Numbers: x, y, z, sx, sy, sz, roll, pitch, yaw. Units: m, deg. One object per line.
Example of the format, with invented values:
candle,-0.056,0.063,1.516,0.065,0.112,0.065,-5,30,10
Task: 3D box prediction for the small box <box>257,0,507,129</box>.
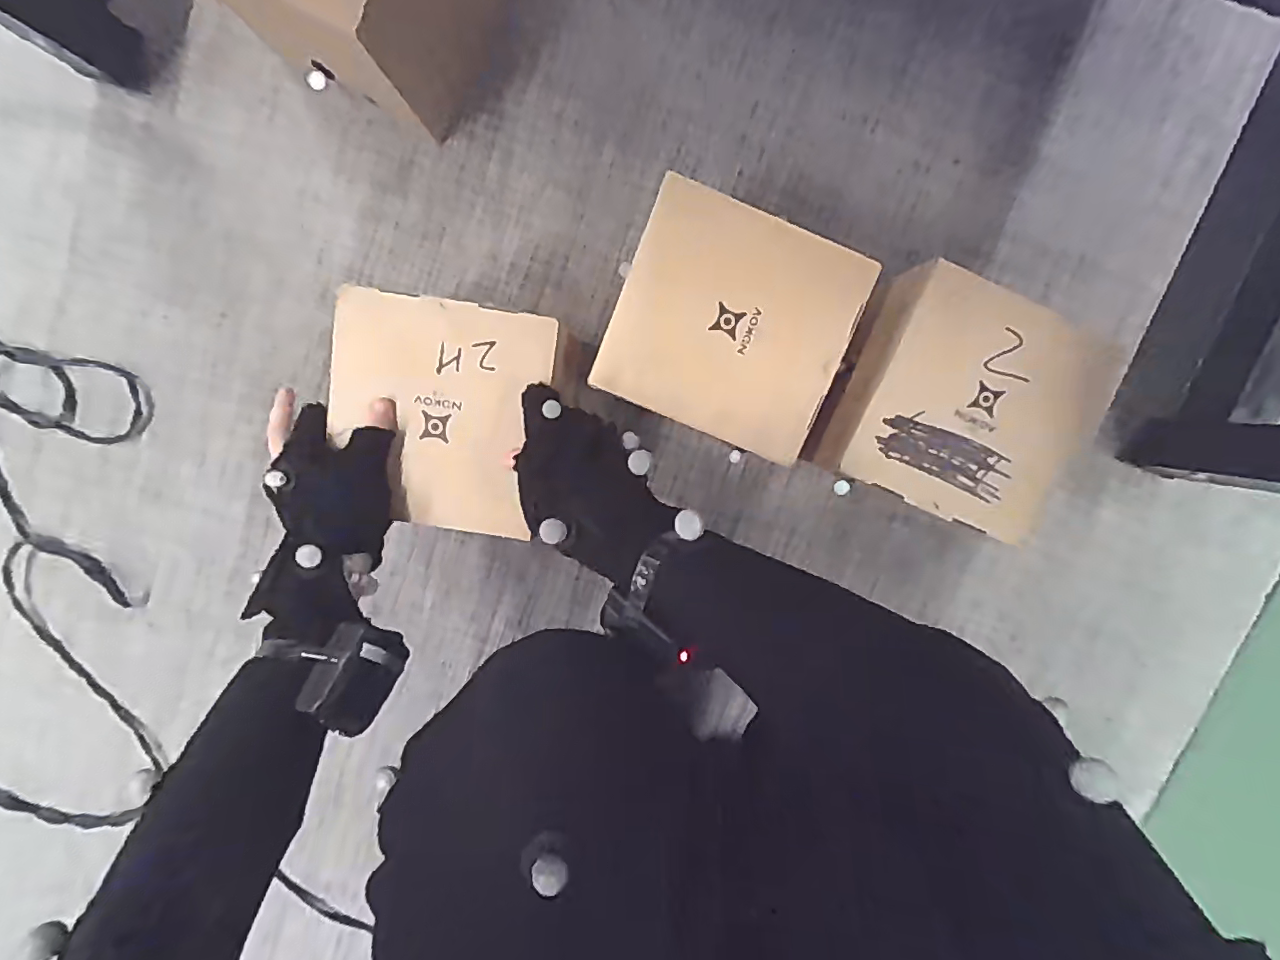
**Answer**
small box,-0.217,-0.438,0.431,0.168,0.176,0.179,27,96,-5
